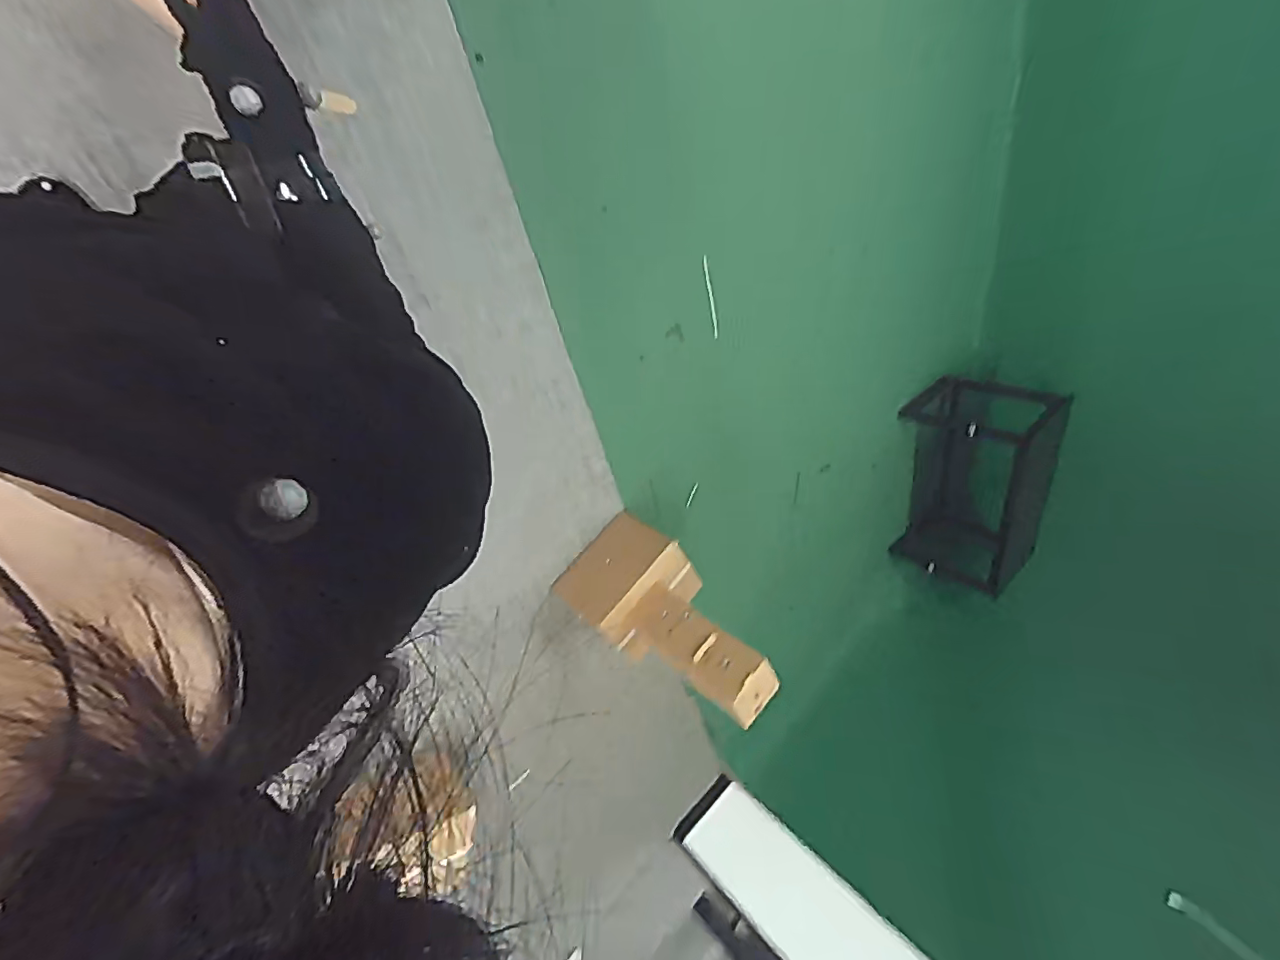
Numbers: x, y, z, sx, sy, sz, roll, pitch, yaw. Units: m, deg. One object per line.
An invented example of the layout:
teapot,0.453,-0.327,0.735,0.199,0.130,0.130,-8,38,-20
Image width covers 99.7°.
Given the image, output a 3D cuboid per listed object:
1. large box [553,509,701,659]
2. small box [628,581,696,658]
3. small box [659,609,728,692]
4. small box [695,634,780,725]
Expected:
large box,-0.047,0.387,2.060,0.408,0.320,0.320,-48,134,-16
small box,0.090,0.485,1.879,0.179,0.176,0.168,-44,130,-17
small box,0.187,0.547,1.762,0.168,0.176,0.179,-43,131,-19
small box,0.293,0.598,1.648,0.168,0.176,0.179,-44,130,-18
